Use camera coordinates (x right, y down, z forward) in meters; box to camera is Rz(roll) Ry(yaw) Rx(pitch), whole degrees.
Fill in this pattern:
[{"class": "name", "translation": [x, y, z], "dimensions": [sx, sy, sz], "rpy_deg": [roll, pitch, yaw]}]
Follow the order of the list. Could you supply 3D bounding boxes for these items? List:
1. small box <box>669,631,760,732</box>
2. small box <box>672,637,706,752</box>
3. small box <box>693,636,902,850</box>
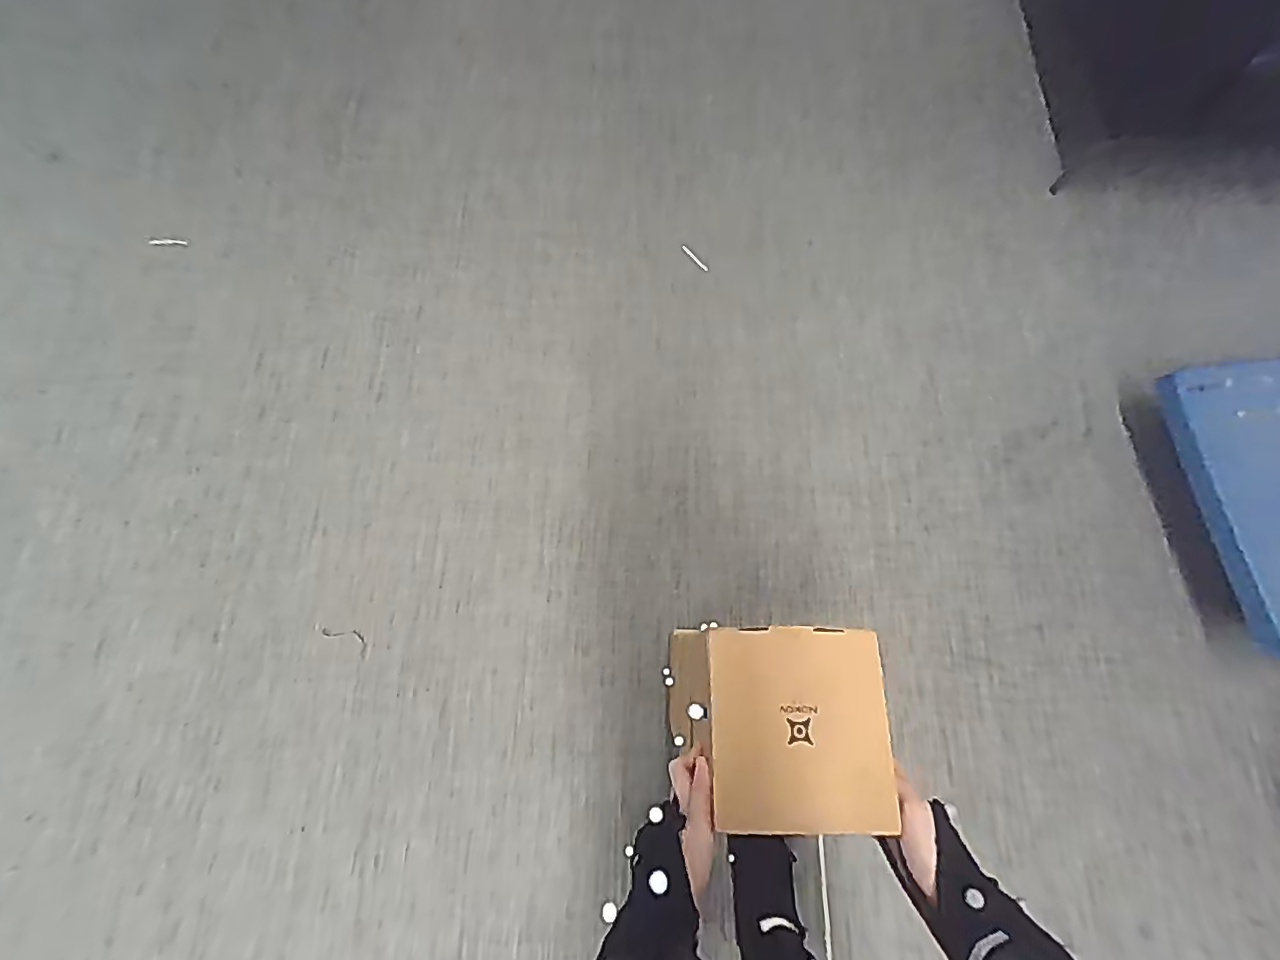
[{"class": "small box", "translation": [0.143, 0.389, 1.050], "dimensions": [0.168, 0.176, 0.179], "rpy_deg": [2, 73, 1]}, {"class": "small box", "translation": [0.144, 0.348, 0.891], "dimensions": [0.179, 0.176, 0.168], "rpy_deg": [2, 74, 1]}, {"class": "small box", "translation": [0.146, 0.261, 0.567], "dimensions": [0.168, 0.176, 0.179], "rpy_deg": [0, 69, 0]}]
